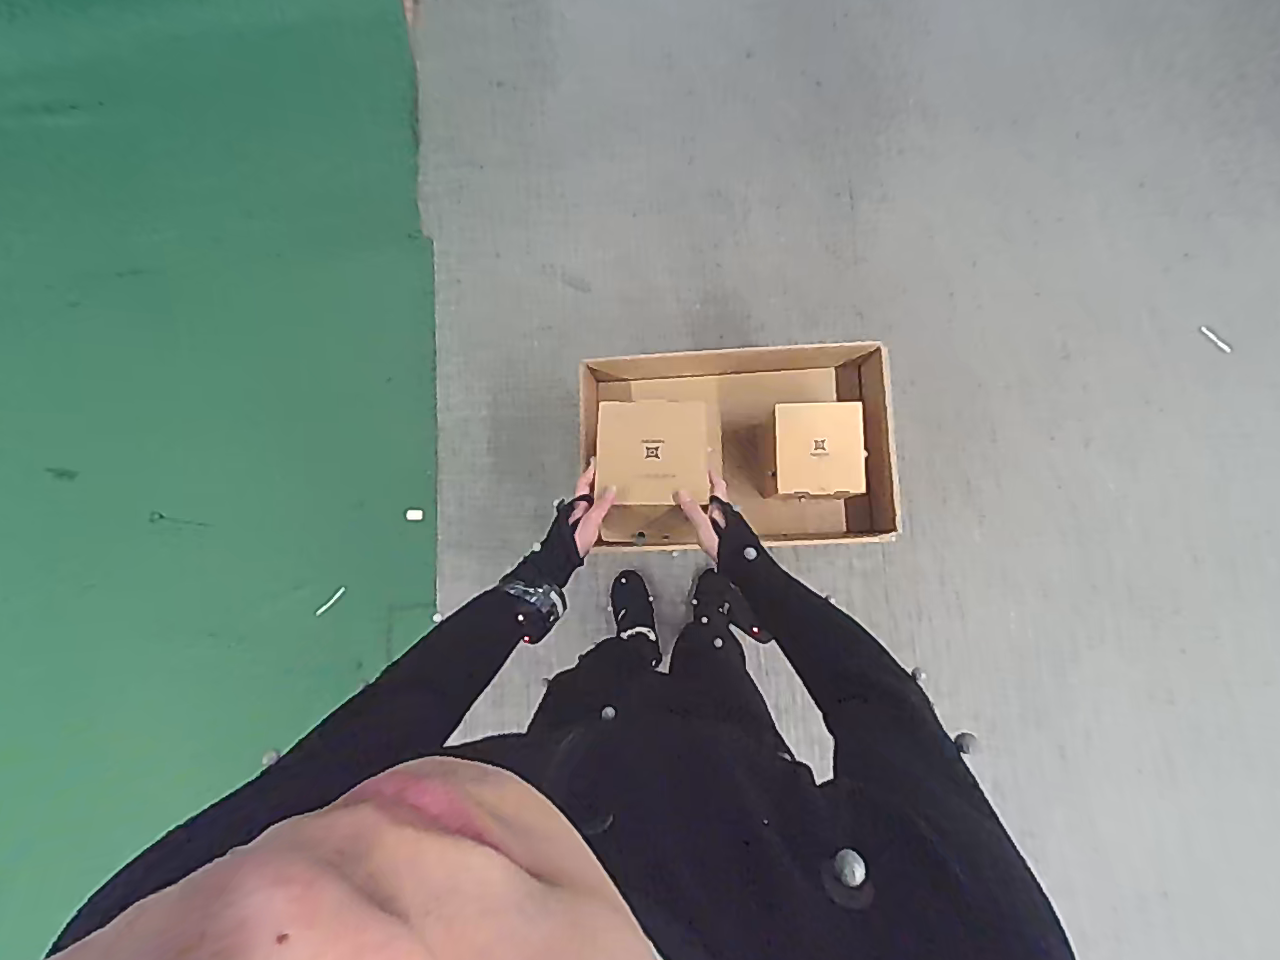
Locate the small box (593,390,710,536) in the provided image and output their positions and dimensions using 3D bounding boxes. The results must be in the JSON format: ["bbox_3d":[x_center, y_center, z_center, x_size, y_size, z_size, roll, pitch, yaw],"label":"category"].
[{"bbox_3d":[0.018,-0.023,0.851,0.168,0.176,0.179,1,65,1],"label":"small box"}]
